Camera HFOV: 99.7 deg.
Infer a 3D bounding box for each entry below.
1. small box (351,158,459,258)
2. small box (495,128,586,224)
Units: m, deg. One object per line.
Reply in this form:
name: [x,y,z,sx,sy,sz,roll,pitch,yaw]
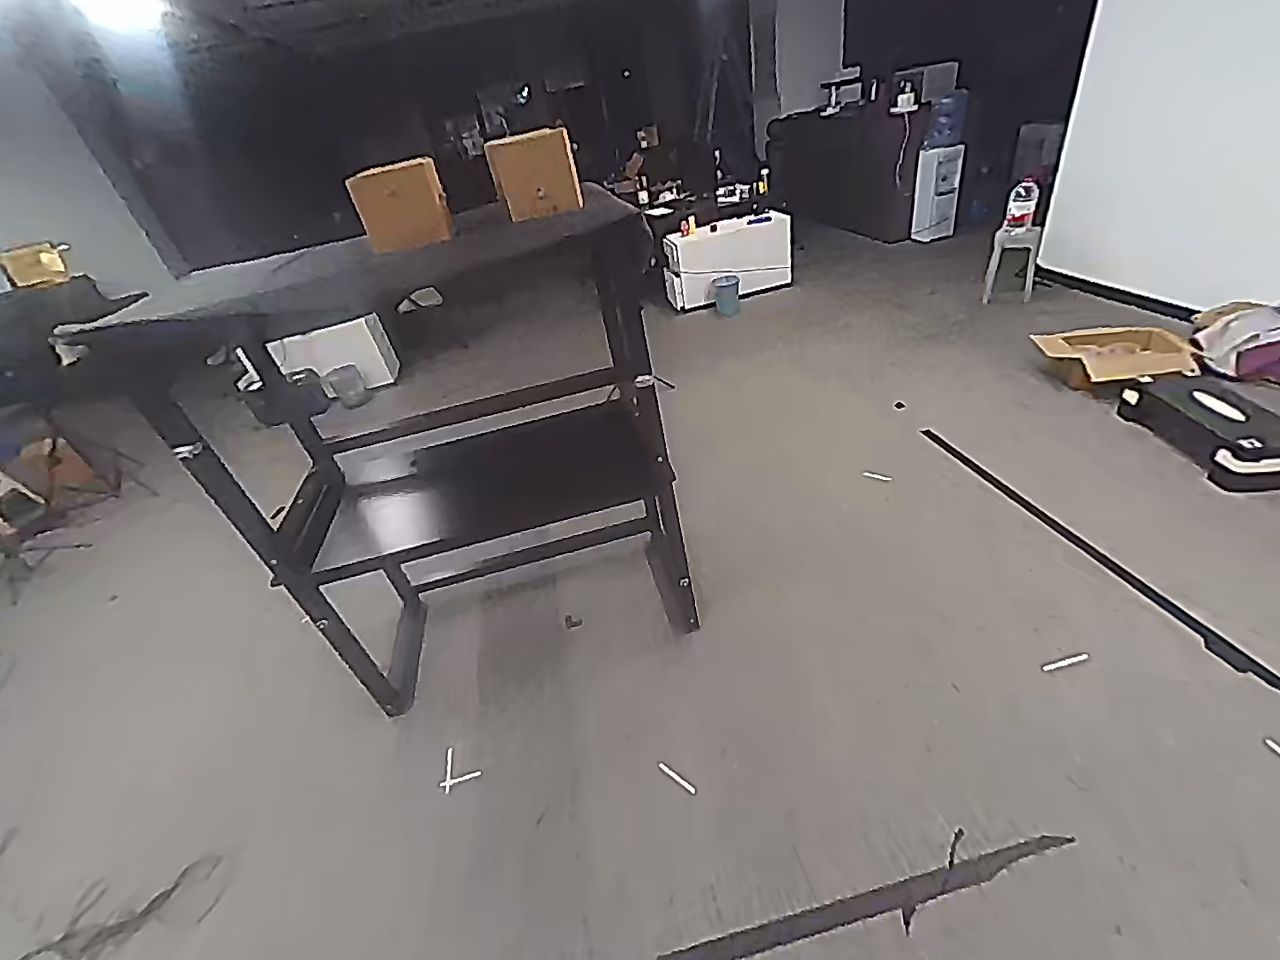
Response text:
small box: [-0.545,-0.647,1.284,0.179,0.176,0.168,-15,35,-3]
small box: [-0.229,-0.726,1.293,0.168,0.176,0.179,-11,35,3]
